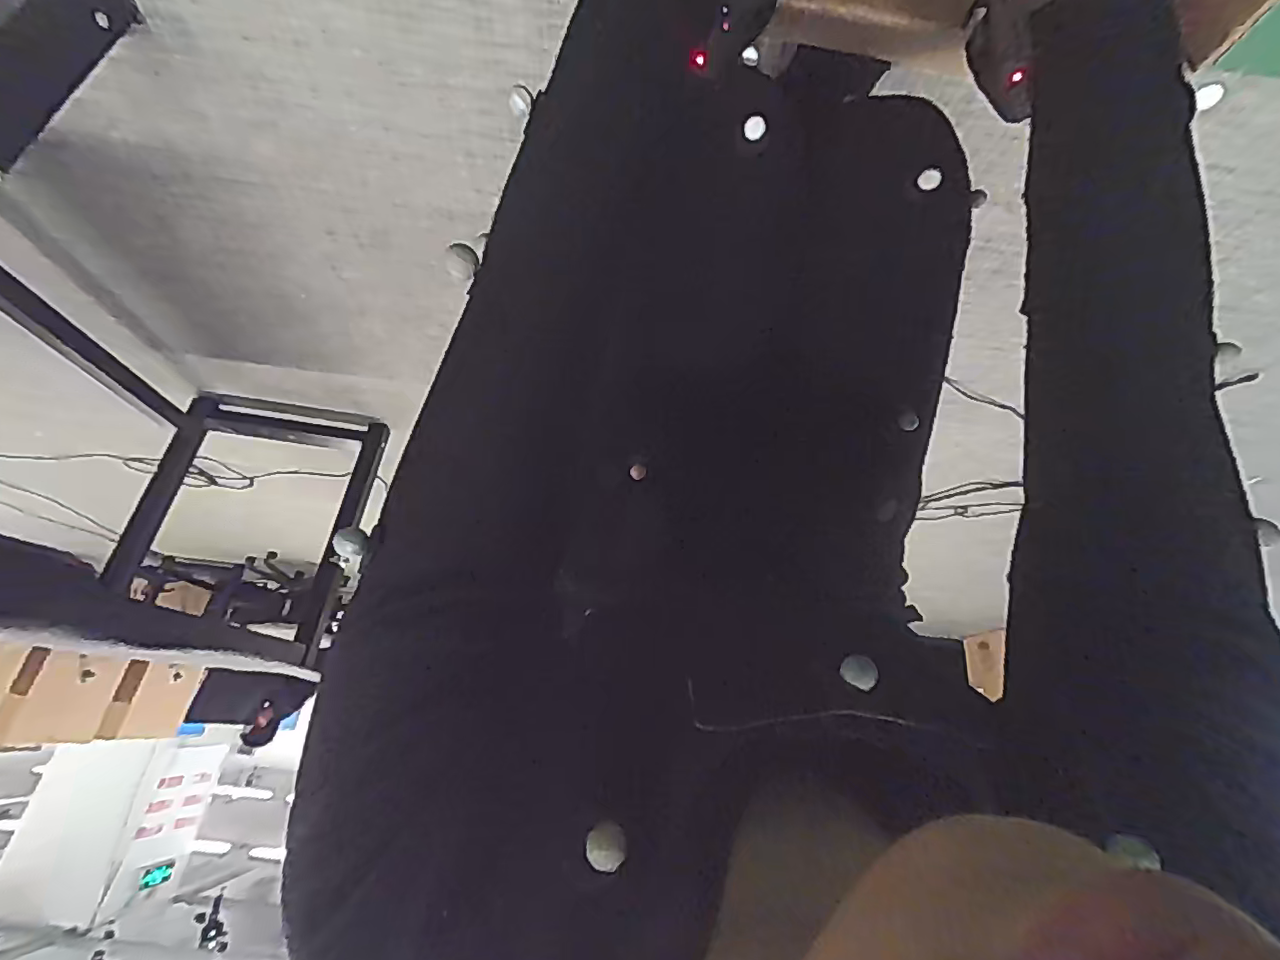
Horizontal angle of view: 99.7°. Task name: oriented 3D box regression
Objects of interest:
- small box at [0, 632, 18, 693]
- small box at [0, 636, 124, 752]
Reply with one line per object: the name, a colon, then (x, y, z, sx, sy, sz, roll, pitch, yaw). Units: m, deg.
small box: (-1.021, 0.272, 0.726, 0.179, 0.176, 0.168, 8, 156, -1)
small box: (-1.065, 0.362, 0.928, 0.179, 0.176, 0.168, 7, 156, 0)
